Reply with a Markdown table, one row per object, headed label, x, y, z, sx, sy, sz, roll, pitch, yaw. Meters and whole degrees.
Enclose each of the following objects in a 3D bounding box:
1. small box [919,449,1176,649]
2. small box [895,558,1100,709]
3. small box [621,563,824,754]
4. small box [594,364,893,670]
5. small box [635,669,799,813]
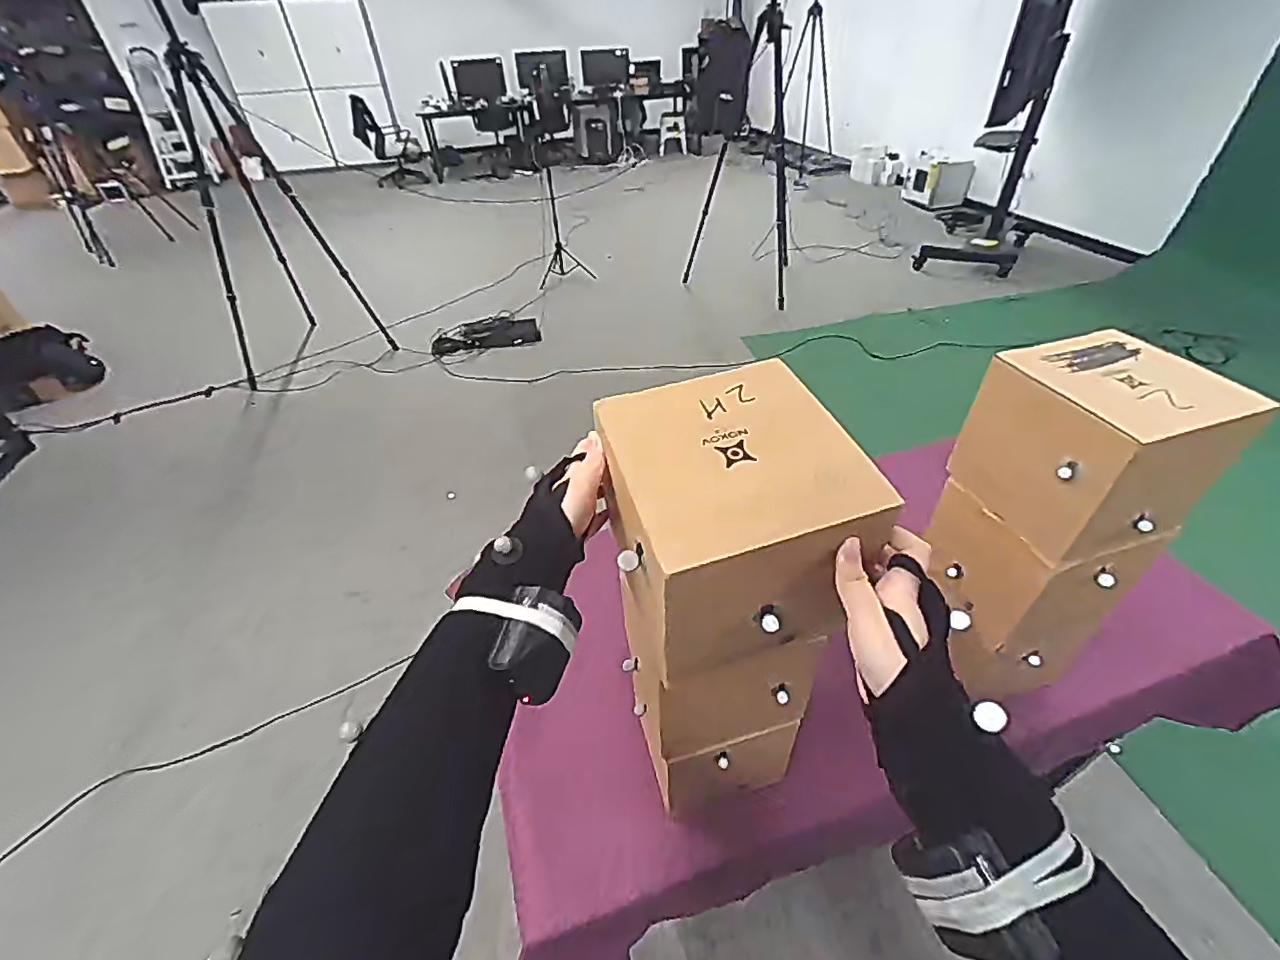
| label | x | y | z | sx | sy | sz | roll | pitch | yaw |
| --- | --- | --- | --- | --- | --- | --- | --- | --- | --- |
| small box | 0.504 | 0.088 | 0.702 | 0.179 | 0.176 | 0.168 | -14 | 42 | -10 |
| small box | 0.509 | 0.212 | 0.807 | 0.179 | 0.176 | 0.168 | -13 | 42 | -11 |
| small box | 0.082 | 0.183 | 0.624 | 0.179 | 0.176 | 0.168 | -12 | 41 | -9 |
| small box | 0.068 | 0.036 | 0.449 | 0.168 | 0.176 | 0.179 | -14 | 48 | -10 |
| small box | 0.091 | 0.308 | 0.730 | 0.168 | 0.176 | 0.179 | -13 | 41 | -9 |
